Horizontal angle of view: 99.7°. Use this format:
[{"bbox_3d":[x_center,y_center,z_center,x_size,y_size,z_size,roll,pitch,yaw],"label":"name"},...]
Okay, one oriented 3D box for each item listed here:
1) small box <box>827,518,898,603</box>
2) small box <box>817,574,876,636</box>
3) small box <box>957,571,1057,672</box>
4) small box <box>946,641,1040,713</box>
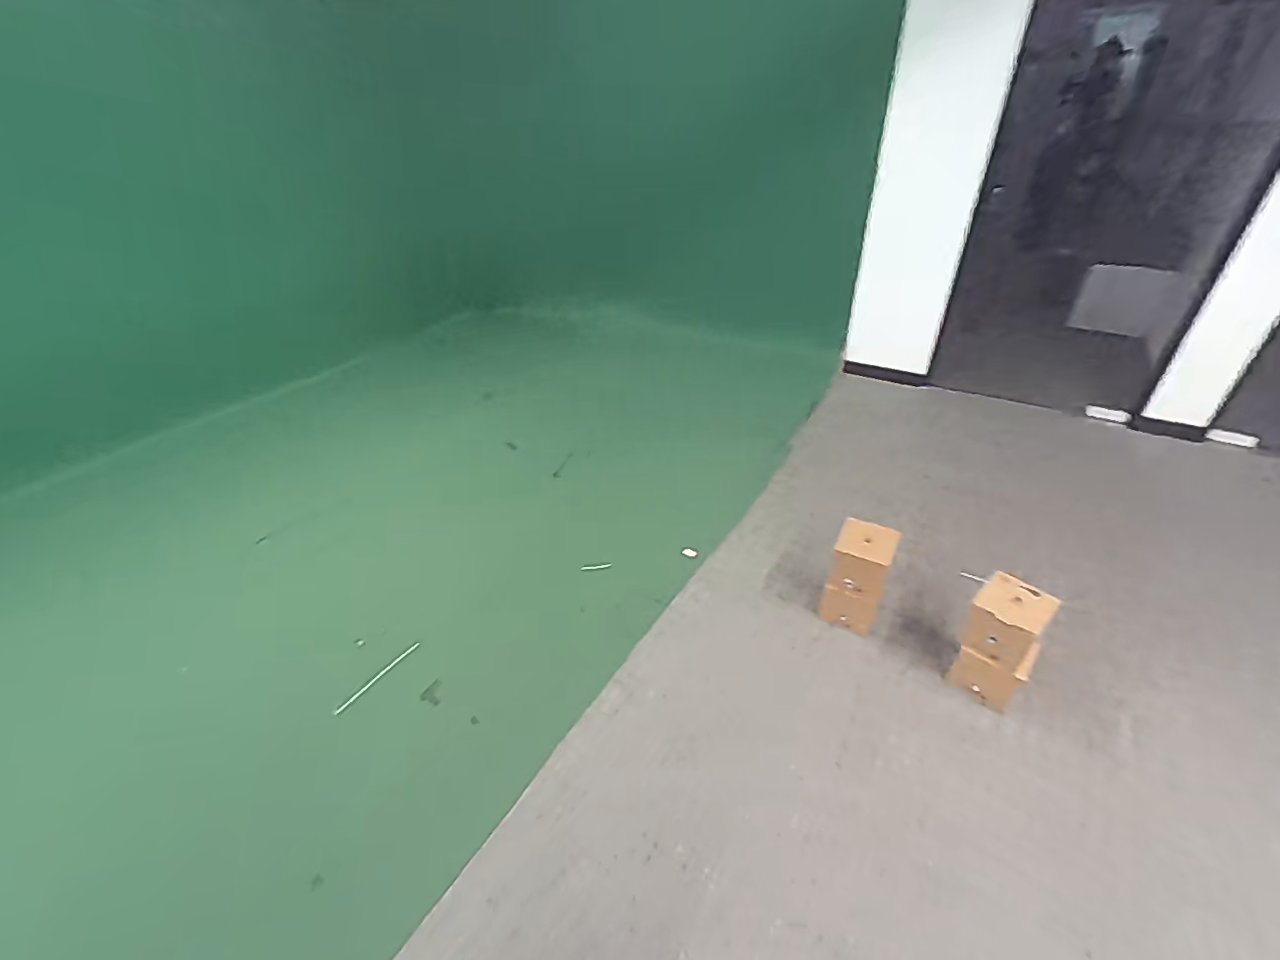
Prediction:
[{"bbox_3d":[0.709,0.257,1.732,0.168,0.176,0.179,17,41,26],"label":"small box"},{"bbox_3d":[0.709,0.388,1.828,0.168,0.176,0.179,17,41,25],"label":"small box"},{"bbox_3d":[1.019,0.398,1.515,0.179,0.176,0.168,-30,44,-31],"label":"small box"},{"bbox_3d":[1.034,0.541,1.595,0.168,0.176,0.179,28,47,36],"label":"small box"}]
